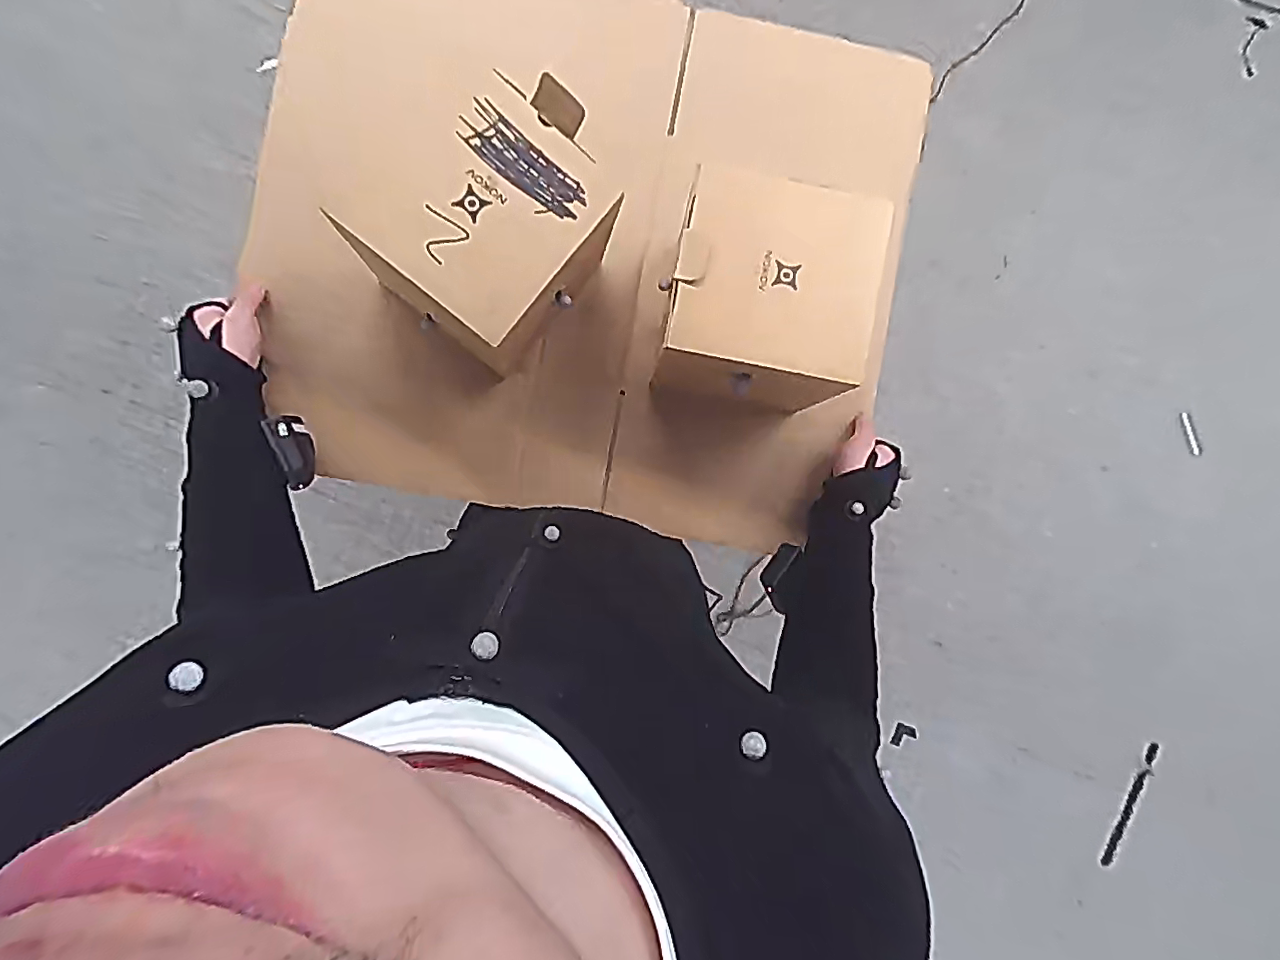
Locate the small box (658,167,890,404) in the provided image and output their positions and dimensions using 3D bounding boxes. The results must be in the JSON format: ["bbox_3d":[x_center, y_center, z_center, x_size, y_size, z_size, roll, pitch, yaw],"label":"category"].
[{"bbox_3d":[0.122,-0.180,0.558,0.179,0.176,0.168,10,88,-2],"label":"small box"}]
